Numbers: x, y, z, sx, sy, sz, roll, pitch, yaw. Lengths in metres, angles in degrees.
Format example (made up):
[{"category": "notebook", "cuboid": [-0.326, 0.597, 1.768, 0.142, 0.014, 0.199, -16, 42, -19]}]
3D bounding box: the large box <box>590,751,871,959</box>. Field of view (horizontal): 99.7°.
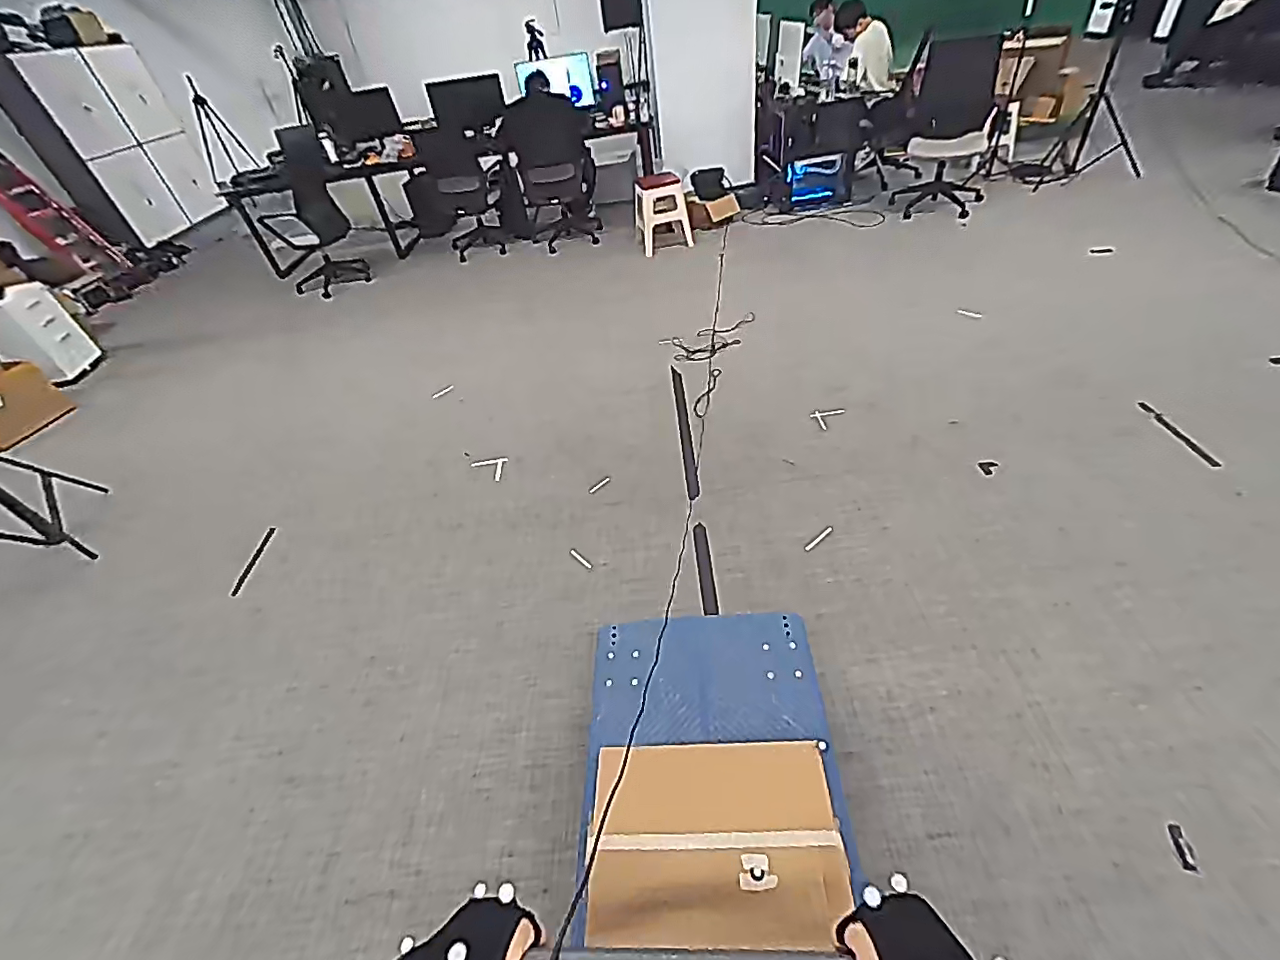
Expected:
[{"category": "large box", "cuboid": [0.141, 0.710, 0.955, 0.408, 0.320, 0.320, -5, 41, 6]}]
